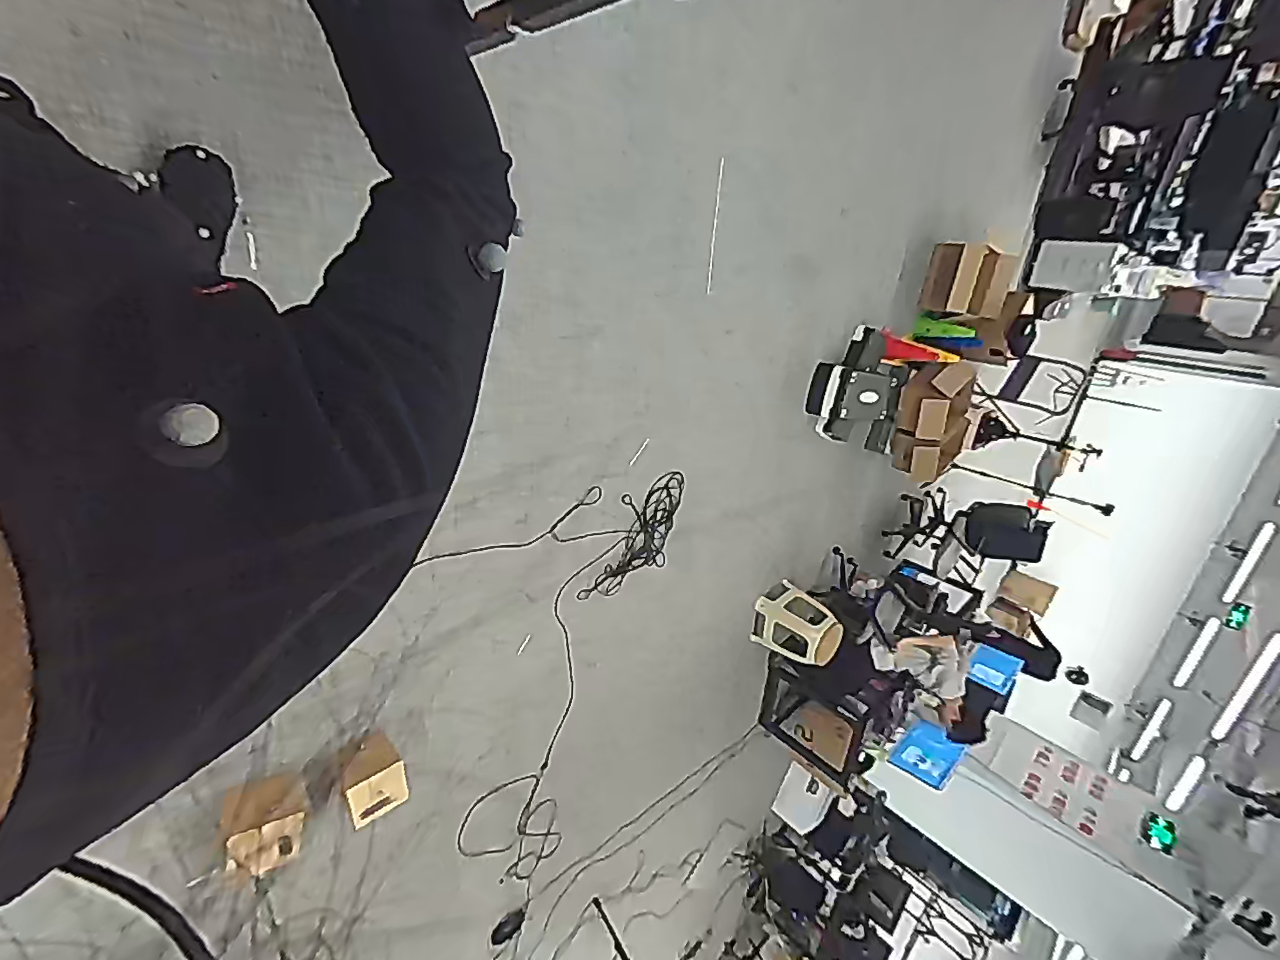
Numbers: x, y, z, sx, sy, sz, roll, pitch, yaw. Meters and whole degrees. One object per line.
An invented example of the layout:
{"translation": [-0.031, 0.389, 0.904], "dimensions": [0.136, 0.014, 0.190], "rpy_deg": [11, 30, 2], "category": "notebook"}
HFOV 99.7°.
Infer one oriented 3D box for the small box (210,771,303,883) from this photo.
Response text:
{"translation": [-1.072, 0.954, 1.508], "dimensions": [0.179, 0.176, 0.168], "rpy_deg": [3, 106, -46], "category": "small box"}
